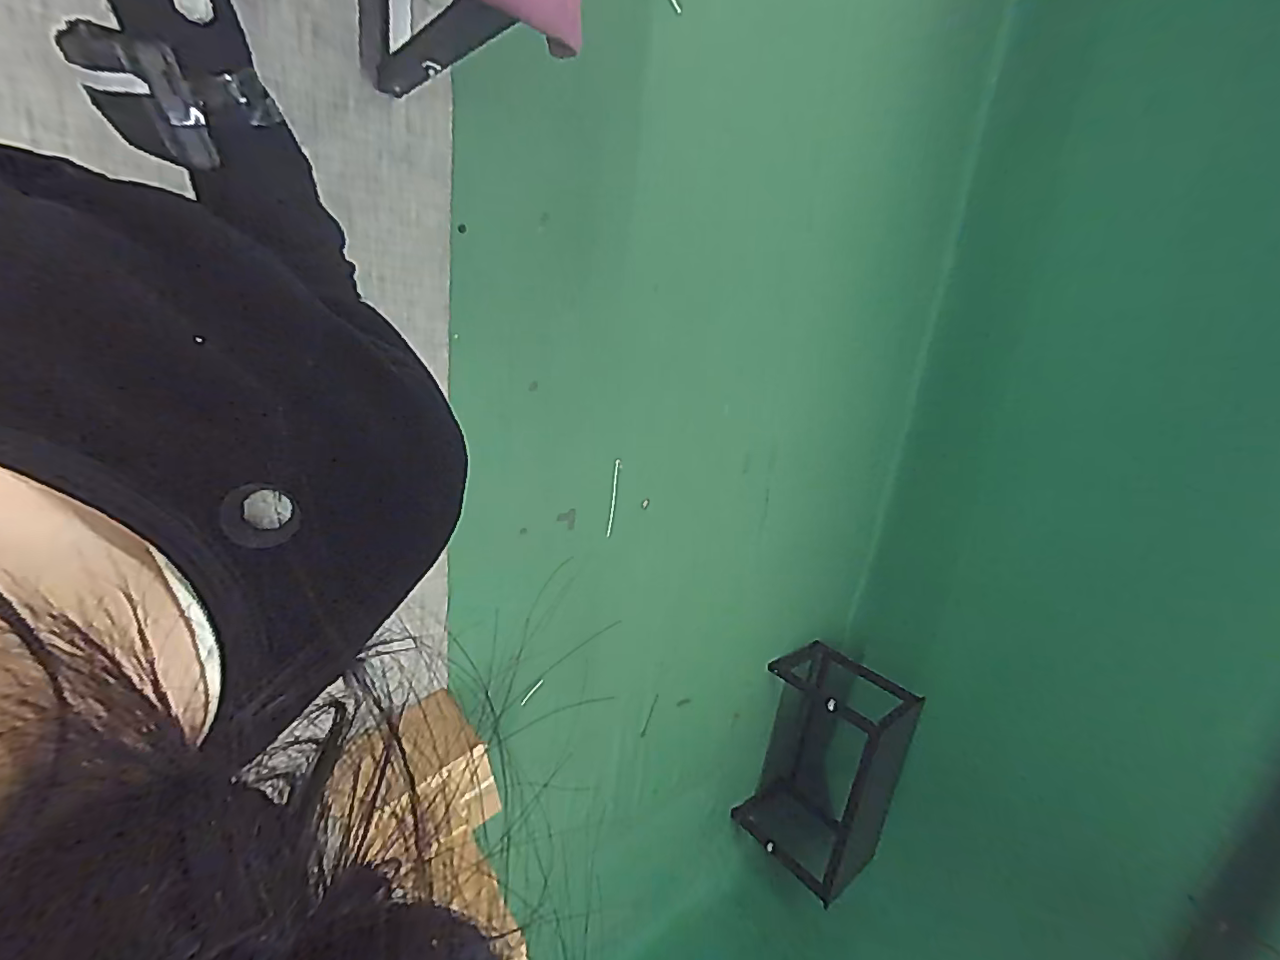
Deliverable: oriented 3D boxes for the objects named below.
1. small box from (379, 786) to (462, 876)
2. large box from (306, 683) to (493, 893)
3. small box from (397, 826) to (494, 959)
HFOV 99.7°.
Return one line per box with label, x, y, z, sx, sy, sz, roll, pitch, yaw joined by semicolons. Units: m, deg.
small box;-0.594;0.978;1.478;0.168;0.176;0.179;-18;118;-37
large box;-0.735;0.926;1.677;0.408;0.320;0.320;-25;124;-36
small box;-0.490;1.032;1.366;0.179;0.176;0.168;-16;117;-38
